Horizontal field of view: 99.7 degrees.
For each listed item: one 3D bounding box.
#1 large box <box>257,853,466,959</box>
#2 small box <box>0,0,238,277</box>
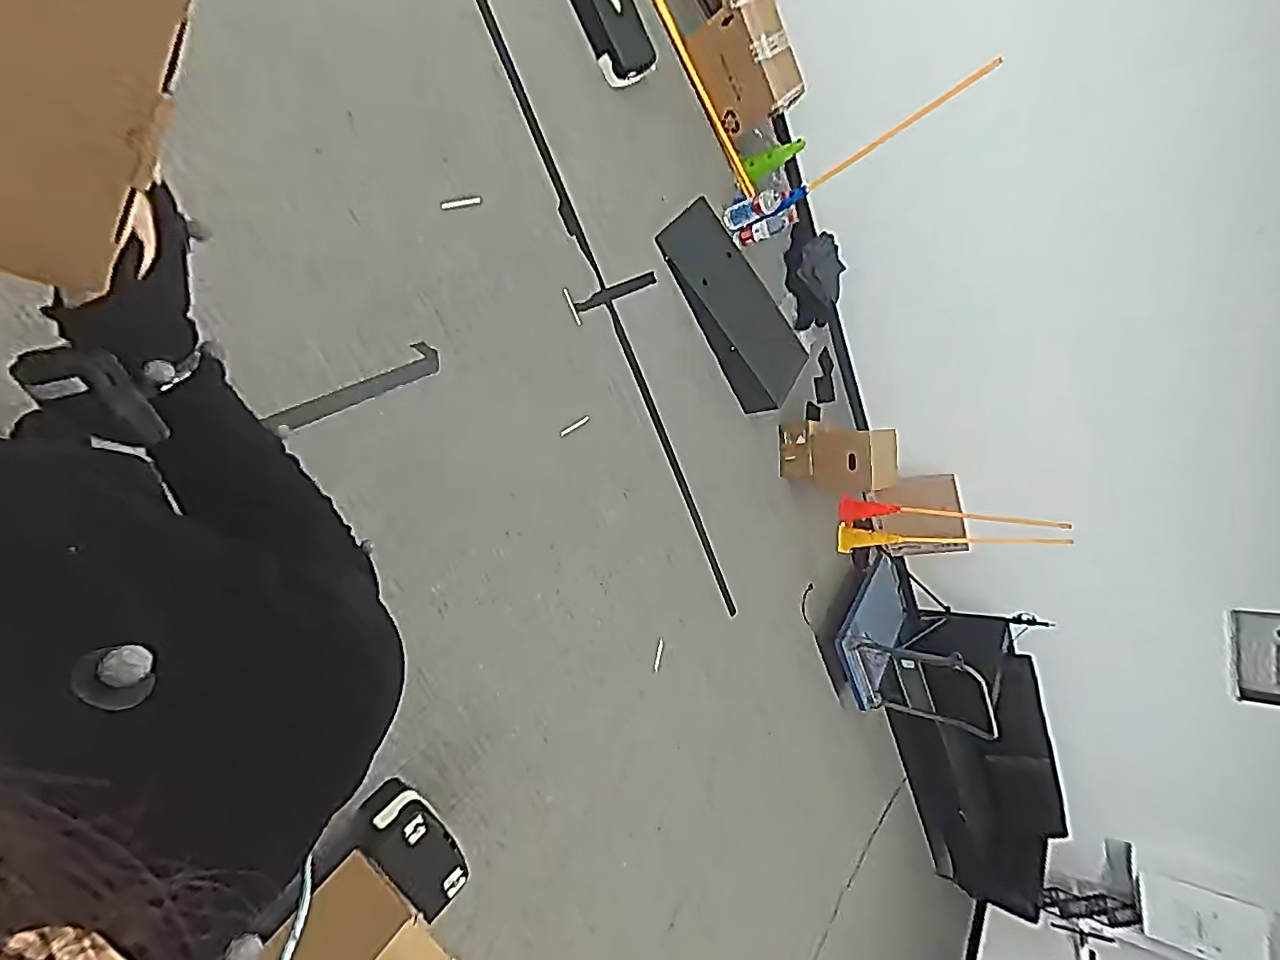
[{"bbox_3d":[-0.578,1.052,1.037,0.408,0.320,0.320,-44,118,-40],"label":"large box"},{"bbox_3d":[-0.273,-0.207,0.175,0.179,0.168,0.176,1,52,-57],"label":"small box"}]
